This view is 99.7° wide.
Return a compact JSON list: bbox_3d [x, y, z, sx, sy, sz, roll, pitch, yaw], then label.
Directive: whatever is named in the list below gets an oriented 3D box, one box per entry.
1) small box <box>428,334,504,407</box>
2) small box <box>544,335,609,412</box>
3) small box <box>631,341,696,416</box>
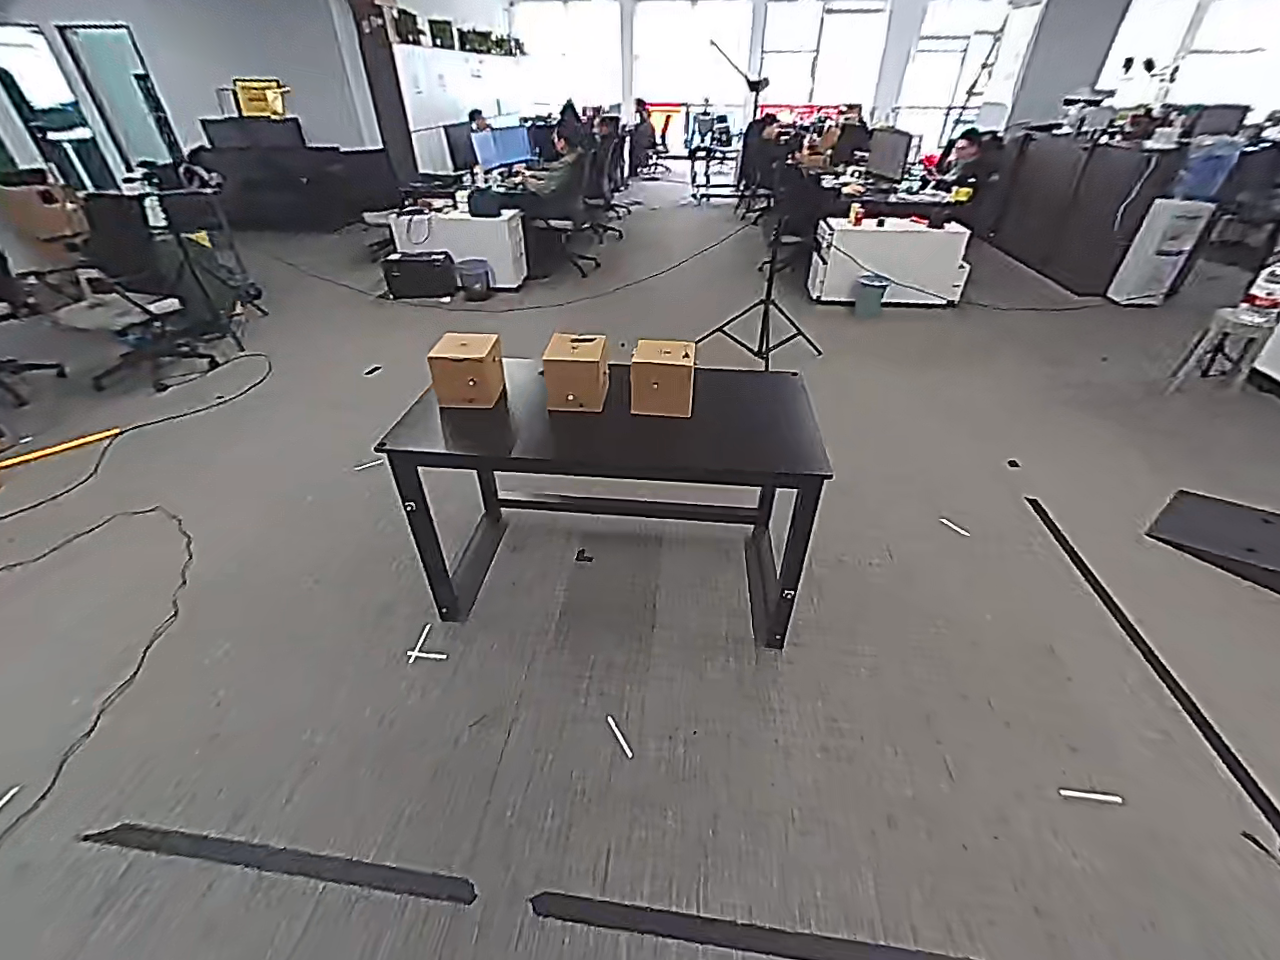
[{"bbox_3d":[-0.519,-0.332,1.644,0.168,0.176,0.179,2,36,0],"label":"small box"},{"bbox_3d":[-0.186,-0.322,1.631,0.168,0.176,0.179,3,37,3],"label":"small box"},{"bbox_3d":[0.072,-0.301,1.606,0.179,0.176,0.168,4,36,6],"label":"small box"}]
